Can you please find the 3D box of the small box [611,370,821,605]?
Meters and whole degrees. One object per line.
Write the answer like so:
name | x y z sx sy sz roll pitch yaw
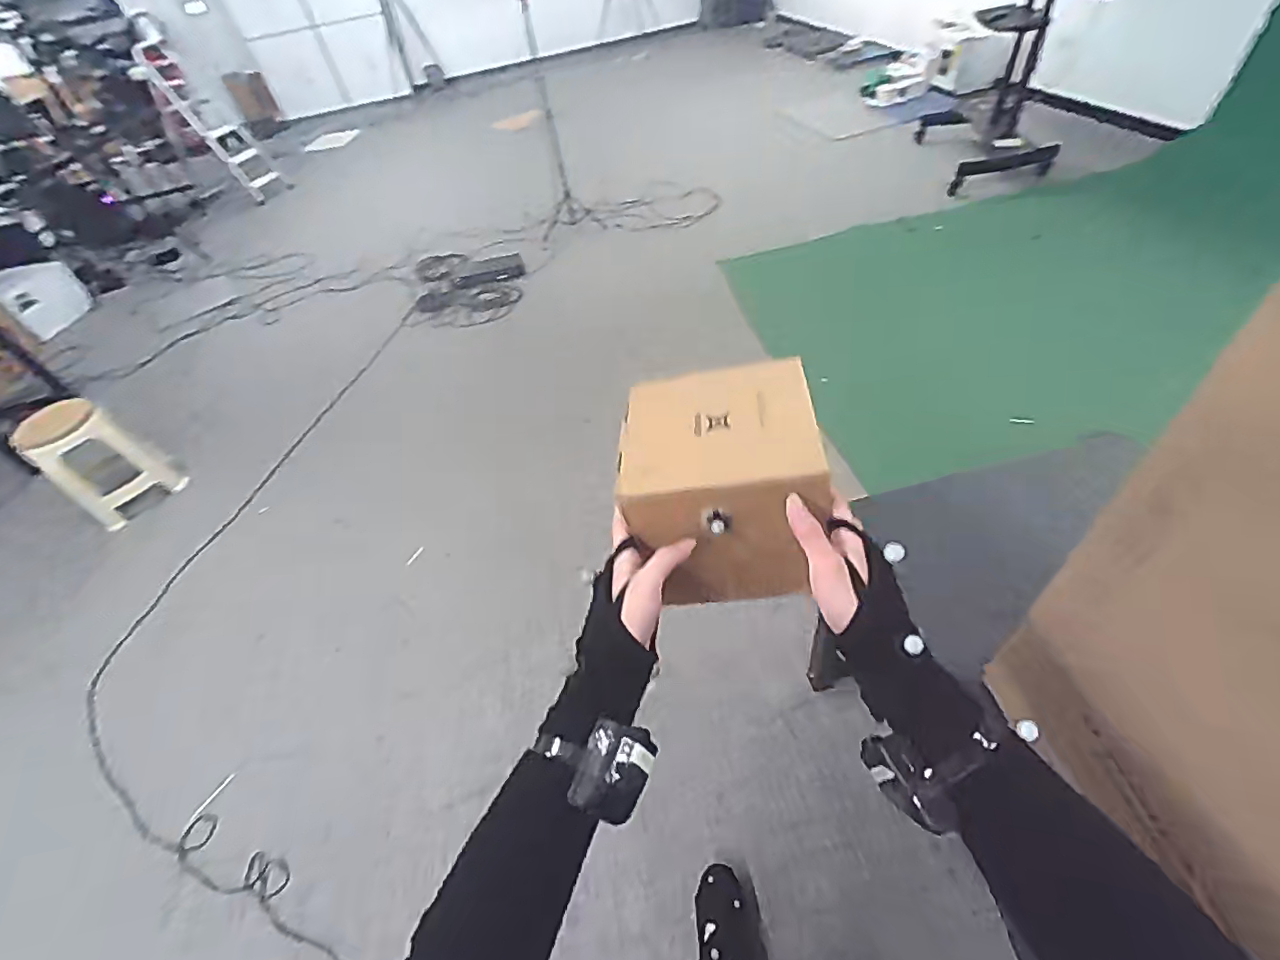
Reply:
small box | 0.083 0.013 0.554 0.179 0.176 0.168 -7 42 12
